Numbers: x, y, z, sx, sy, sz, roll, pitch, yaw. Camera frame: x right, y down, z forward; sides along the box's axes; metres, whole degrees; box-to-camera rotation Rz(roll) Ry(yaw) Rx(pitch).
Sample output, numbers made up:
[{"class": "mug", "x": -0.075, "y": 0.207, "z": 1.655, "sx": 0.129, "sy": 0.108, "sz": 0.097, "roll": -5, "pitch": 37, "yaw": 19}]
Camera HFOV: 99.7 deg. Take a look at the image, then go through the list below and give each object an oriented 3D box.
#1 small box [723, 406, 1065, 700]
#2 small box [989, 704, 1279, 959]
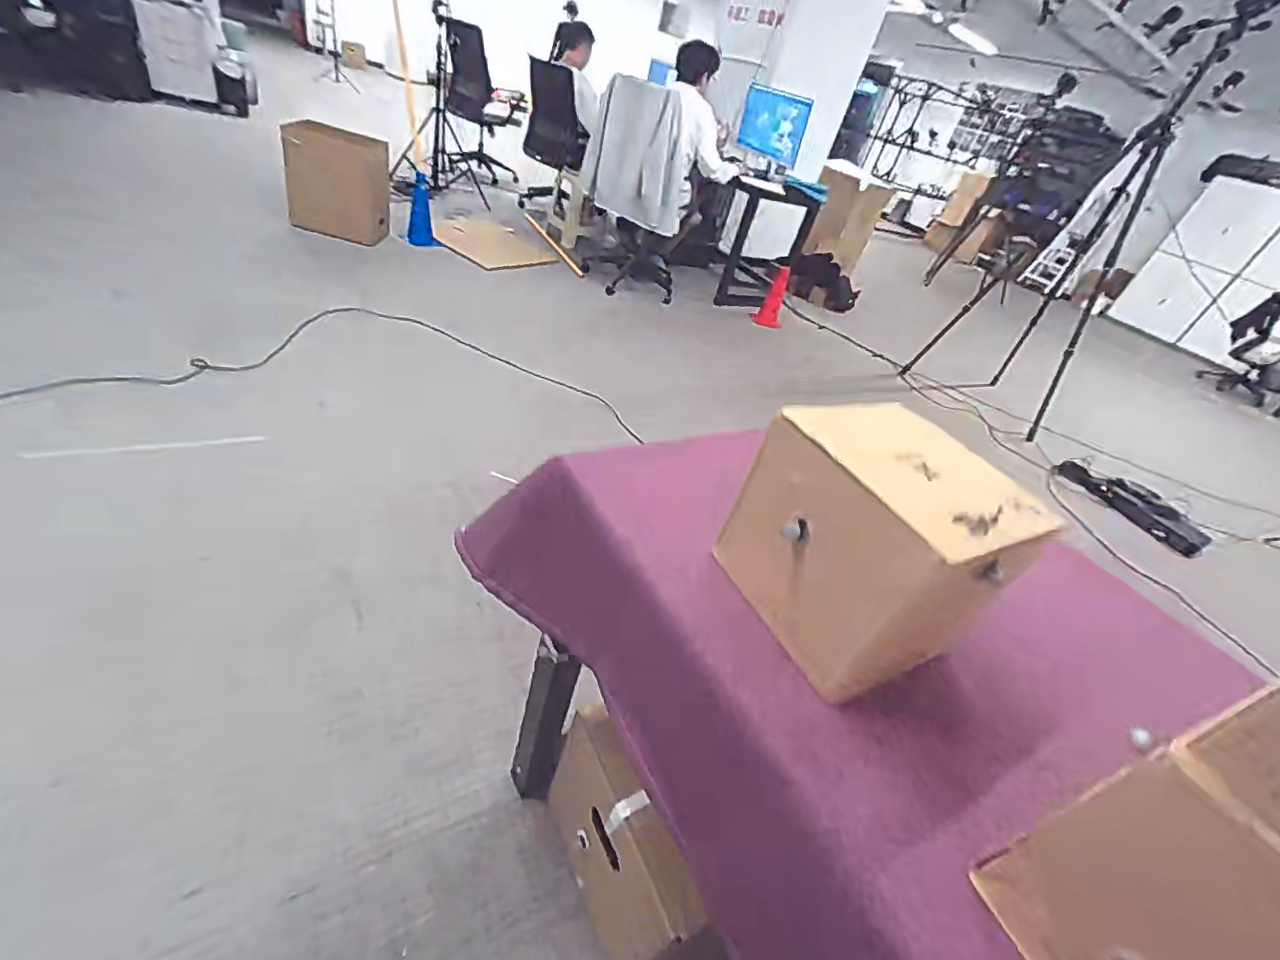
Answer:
[{"class": "small box", "x": 0.199, "y": 0.054, "z": 0.474, "sx": 0.168, "sy": 0.176, "sz": 0.179, "roll": -9, "pitch": 43, "yaw": -30}, {"class": "small box", "x": 0.342, "y": 0.241, "z": 0.291, "sx": 0.179, "sy": 0.176, "sz": 0.168, "roll": -5, "pitch": 41, "yaw": -27}]
